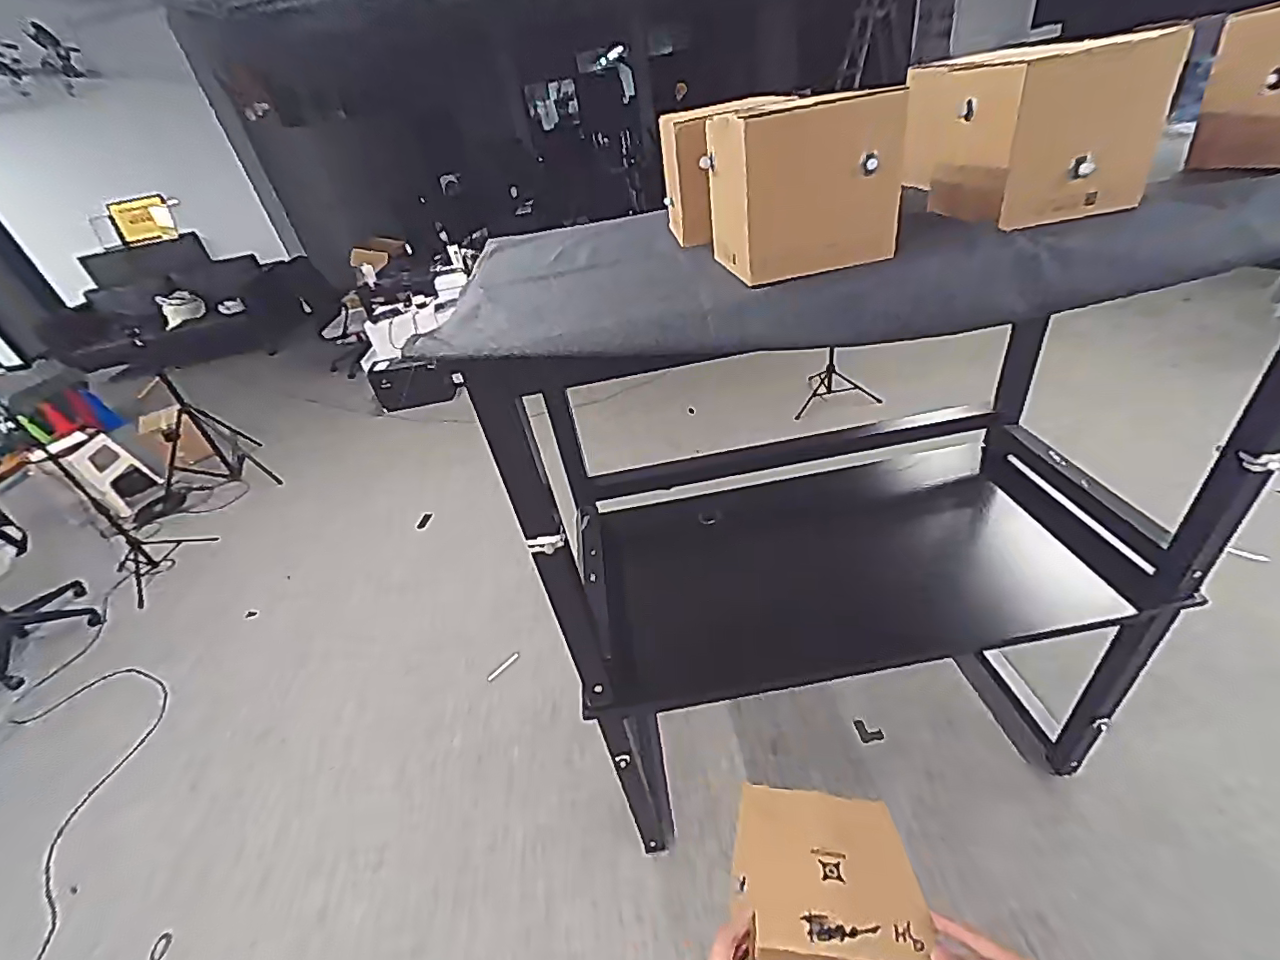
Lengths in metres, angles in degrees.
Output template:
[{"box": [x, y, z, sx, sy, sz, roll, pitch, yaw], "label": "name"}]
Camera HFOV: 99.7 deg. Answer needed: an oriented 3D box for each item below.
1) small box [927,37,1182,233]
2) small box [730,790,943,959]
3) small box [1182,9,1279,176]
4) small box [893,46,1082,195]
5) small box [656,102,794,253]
[{"box": [0.480, -0.416, 0.666, 0.168, 0.176, 0.179, -10, 34, 3], "label": "small box"}, {"box": [0.187, 0.471, 0.566, 0.168, 0.176, 0.179, 4, 17, 5], "label": "small box"}, {"box": [0.817, -0.468, 0.636, 0.168, 0.176, 0.179, -14, 30, -4], "label": "small box"}, {"box": [0.523, -0.551, 0.843, 0.168, 0.176, 0.179, -11, 36, -2], "label": "small box"}, {"box": [0.129, -0.473, 0.846, 0.179, 0.176, 0.168, -11, 36, 1], "label": "small box"}]
